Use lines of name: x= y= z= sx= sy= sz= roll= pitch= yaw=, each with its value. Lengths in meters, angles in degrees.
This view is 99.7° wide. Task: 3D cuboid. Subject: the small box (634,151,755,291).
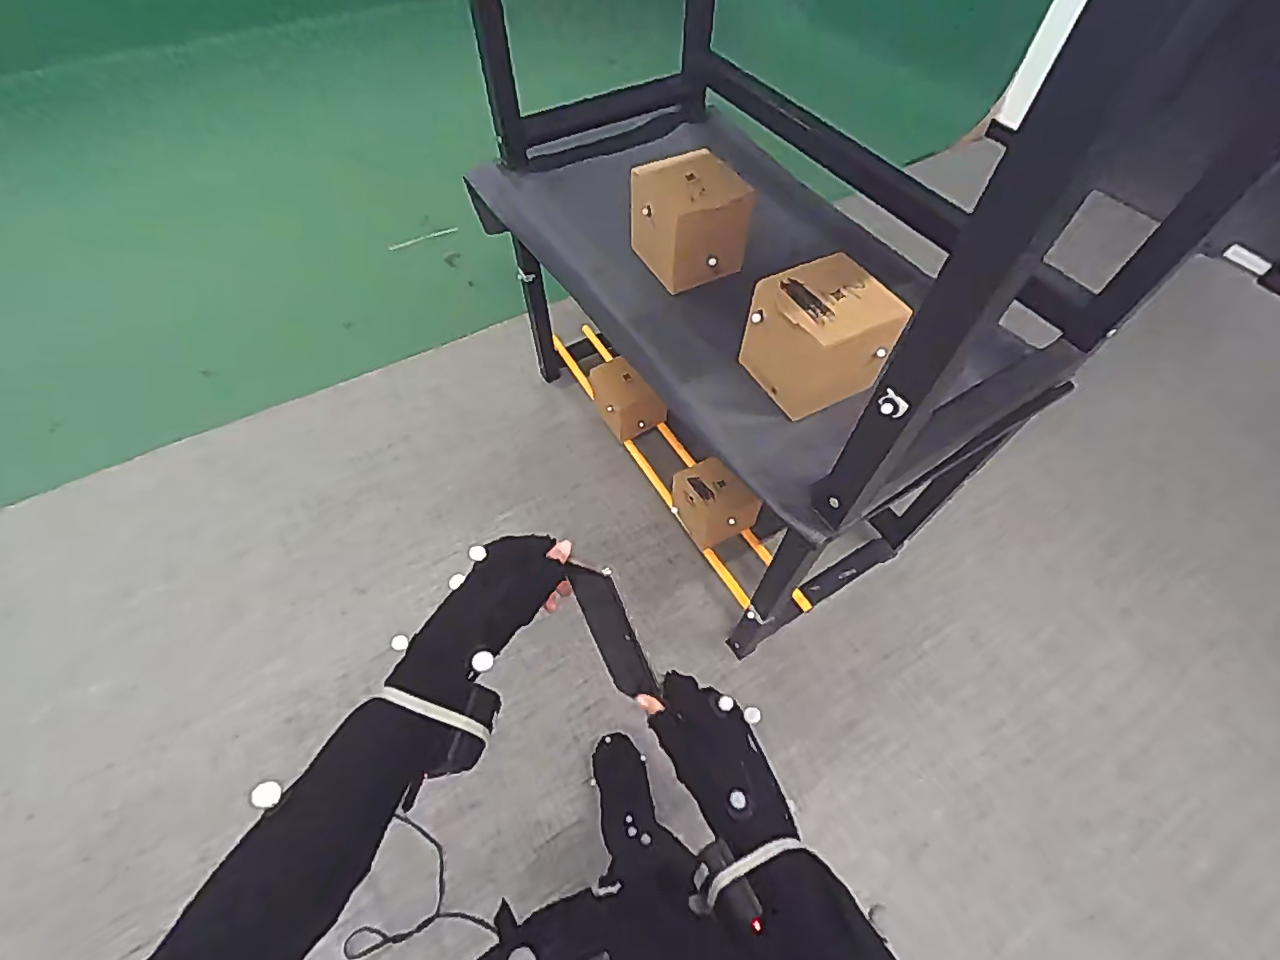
small box: x=0.096 y=-0.506 z=1.063 sx=0.168 sy=0.176 sz=0.179 roll=-24 pitch=61 yaw=-15

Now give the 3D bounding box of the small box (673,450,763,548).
small box: x=0.200 y=0.055 z=1.446 sx=0.179 sy=0.176 sz=0.168 roll=-24 pitch=61 yaw=-15
